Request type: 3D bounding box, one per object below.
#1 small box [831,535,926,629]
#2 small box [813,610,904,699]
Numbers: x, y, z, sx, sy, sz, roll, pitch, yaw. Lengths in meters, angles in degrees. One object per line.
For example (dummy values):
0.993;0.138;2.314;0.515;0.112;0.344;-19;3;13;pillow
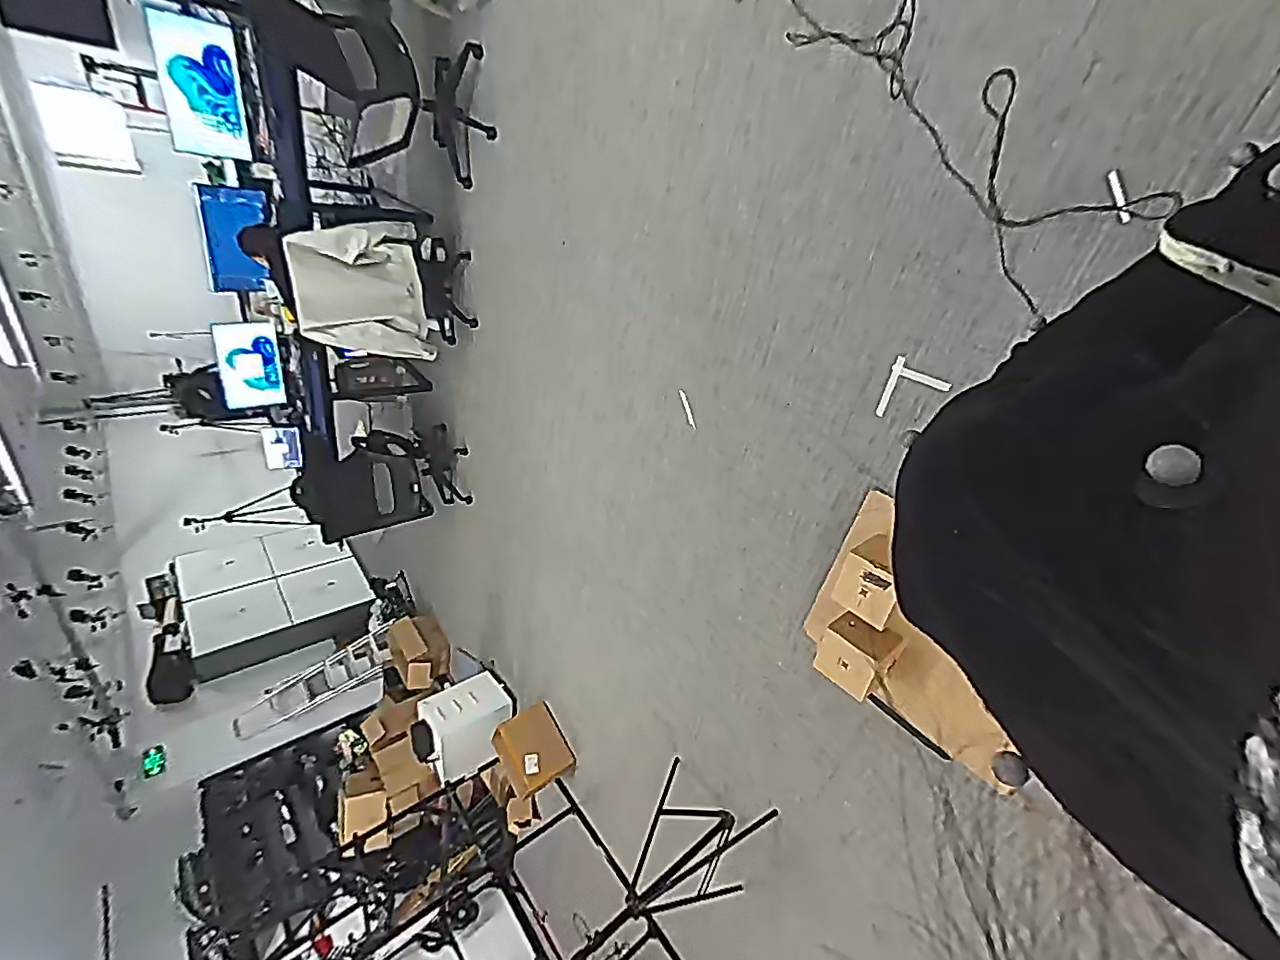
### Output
0.682;0.282;1.538;0.168;0.176;0.179;35;127;38;small box
0.664;0.518;1.645;0.179;0.176;0.168;32;127;39;small box
